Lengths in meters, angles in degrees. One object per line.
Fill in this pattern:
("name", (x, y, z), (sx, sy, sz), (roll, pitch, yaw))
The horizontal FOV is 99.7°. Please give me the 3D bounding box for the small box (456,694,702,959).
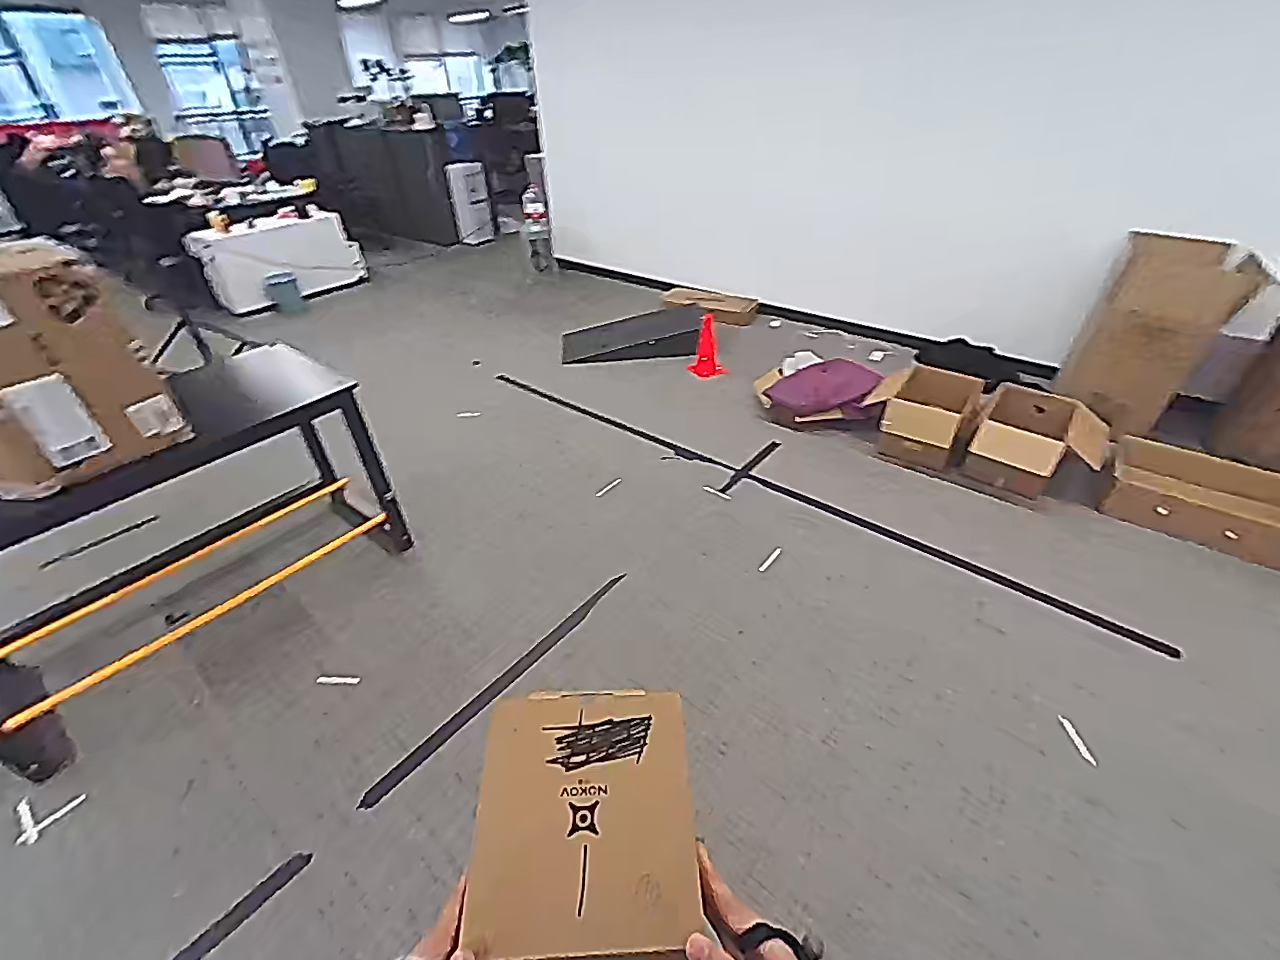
("small box", (-0.046, 0.310, 0.469), (0.168, 0.176, 0.179), (-2, 43, -3))
